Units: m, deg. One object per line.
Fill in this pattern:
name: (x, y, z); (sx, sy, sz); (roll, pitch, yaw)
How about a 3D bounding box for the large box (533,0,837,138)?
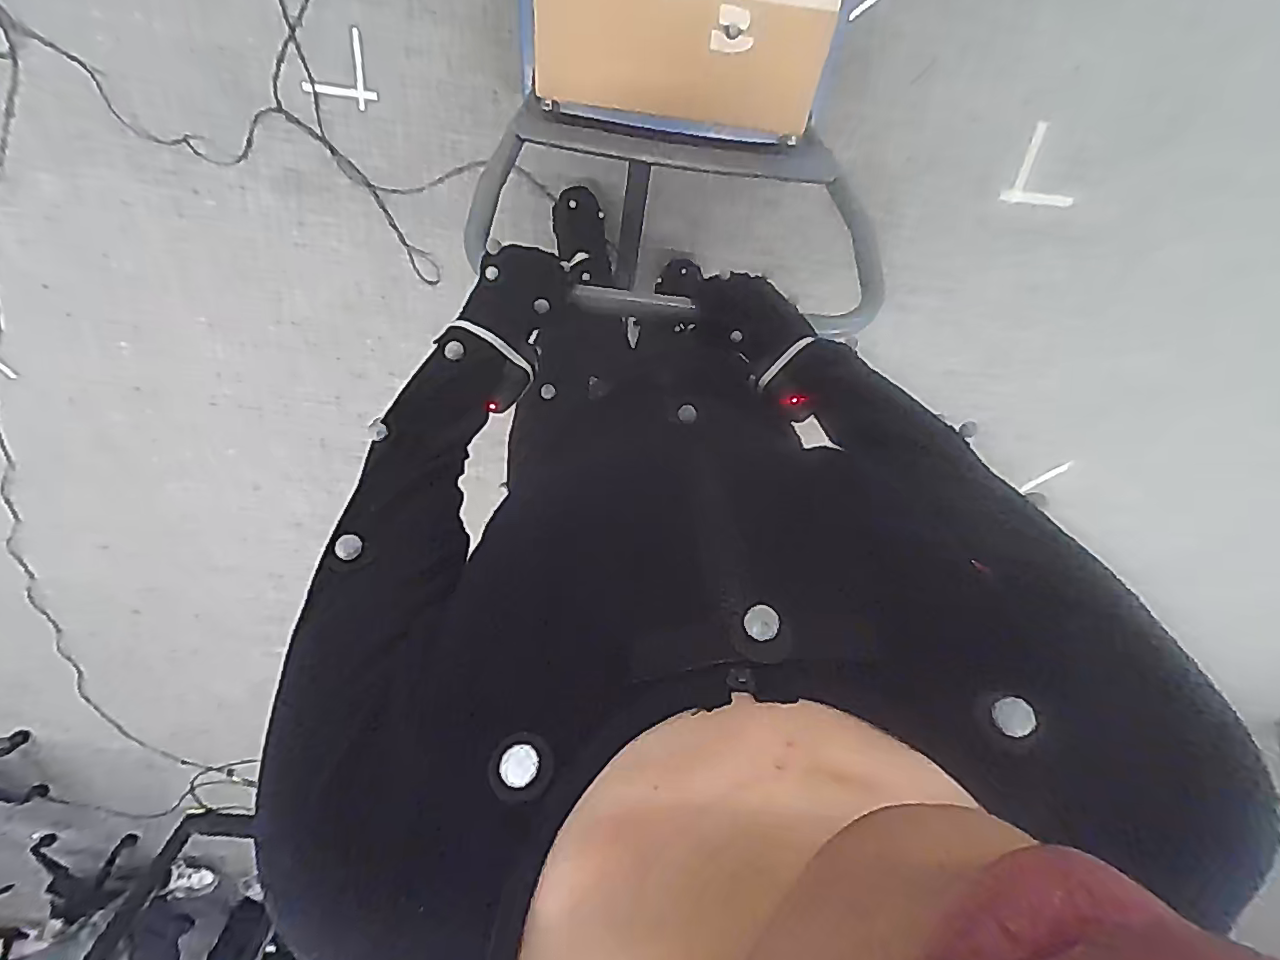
large box: (0.059, -0.742, 0.801); (0.408, 0.320, 0.320); (5, 136, -5)
